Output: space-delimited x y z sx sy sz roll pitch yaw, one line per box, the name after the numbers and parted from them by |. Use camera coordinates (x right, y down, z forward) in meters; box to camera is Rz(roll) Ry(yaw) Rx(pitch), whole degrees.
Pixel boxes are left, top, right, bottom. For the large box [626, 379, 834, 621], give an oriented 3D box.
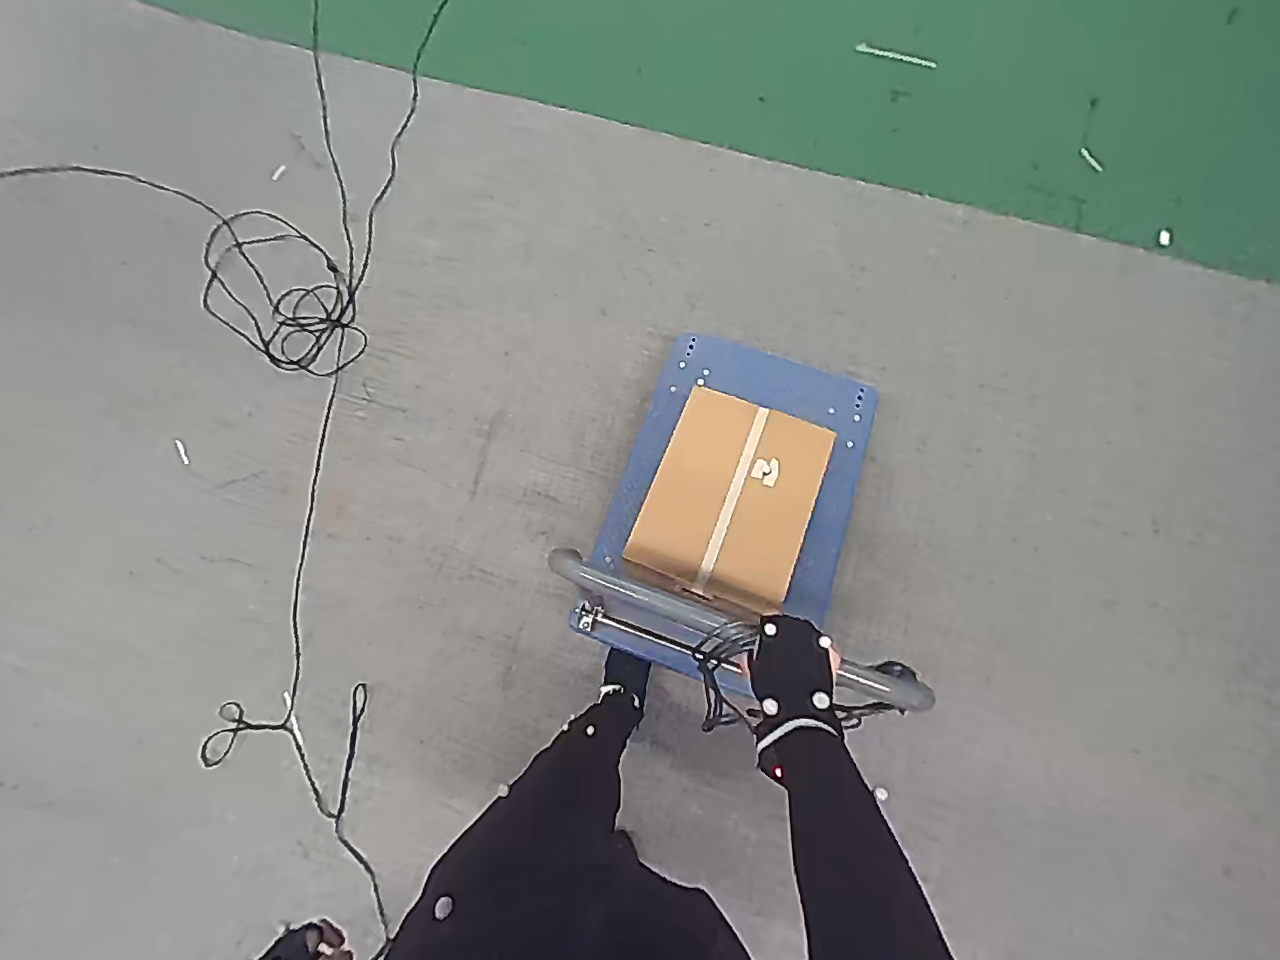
0.186 0.061 1.202 0.320 0.320 0.408 22 73 7 | large box
